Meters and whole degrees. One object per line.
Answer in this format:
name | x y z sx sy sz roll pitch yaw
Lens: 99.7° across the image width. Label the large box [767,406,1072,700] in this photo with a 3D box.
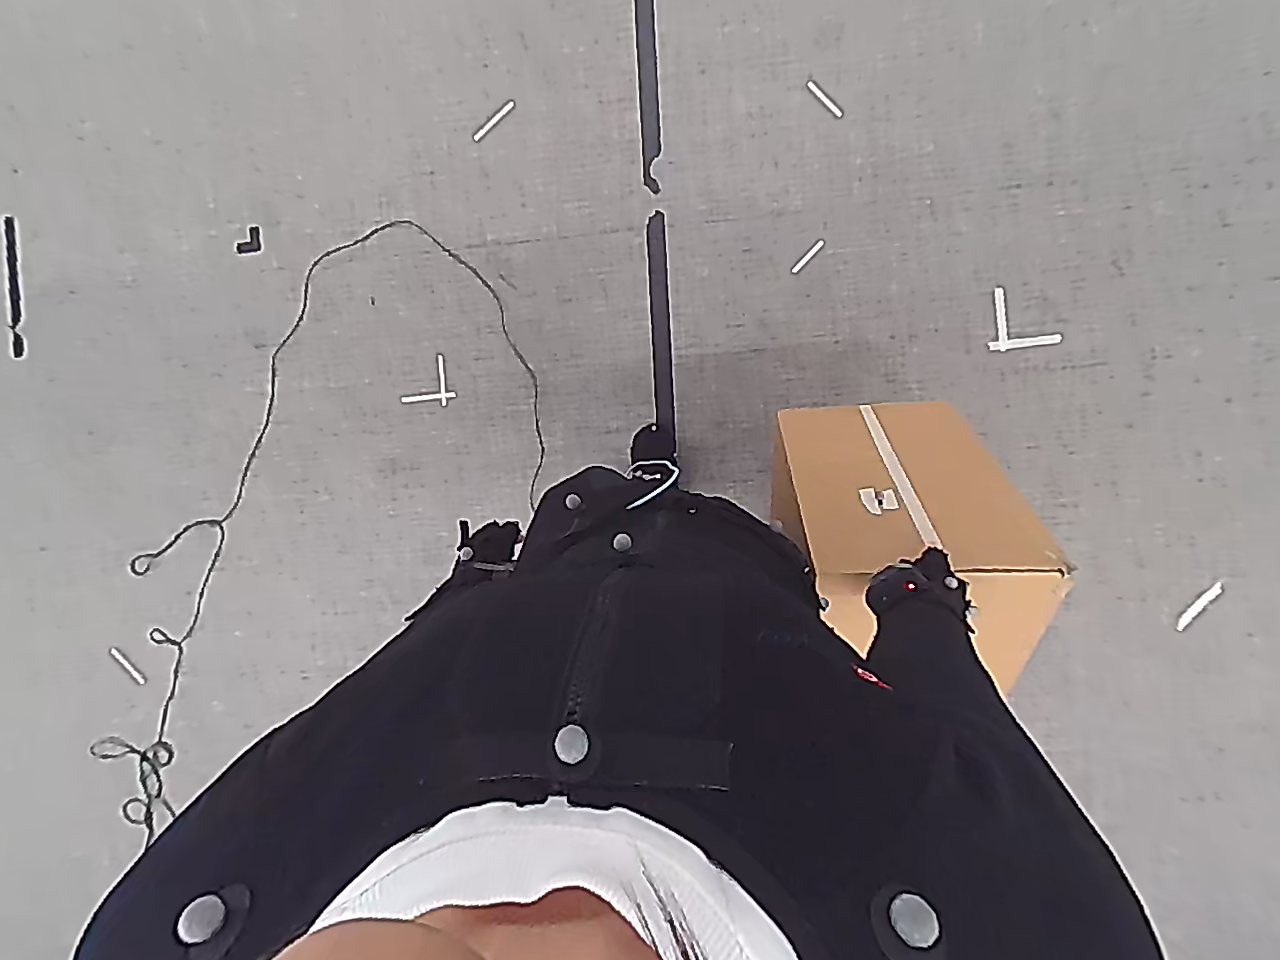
large box | 0.407 0.110 0.927 0.320 0.408 0.320 -2 129 7
